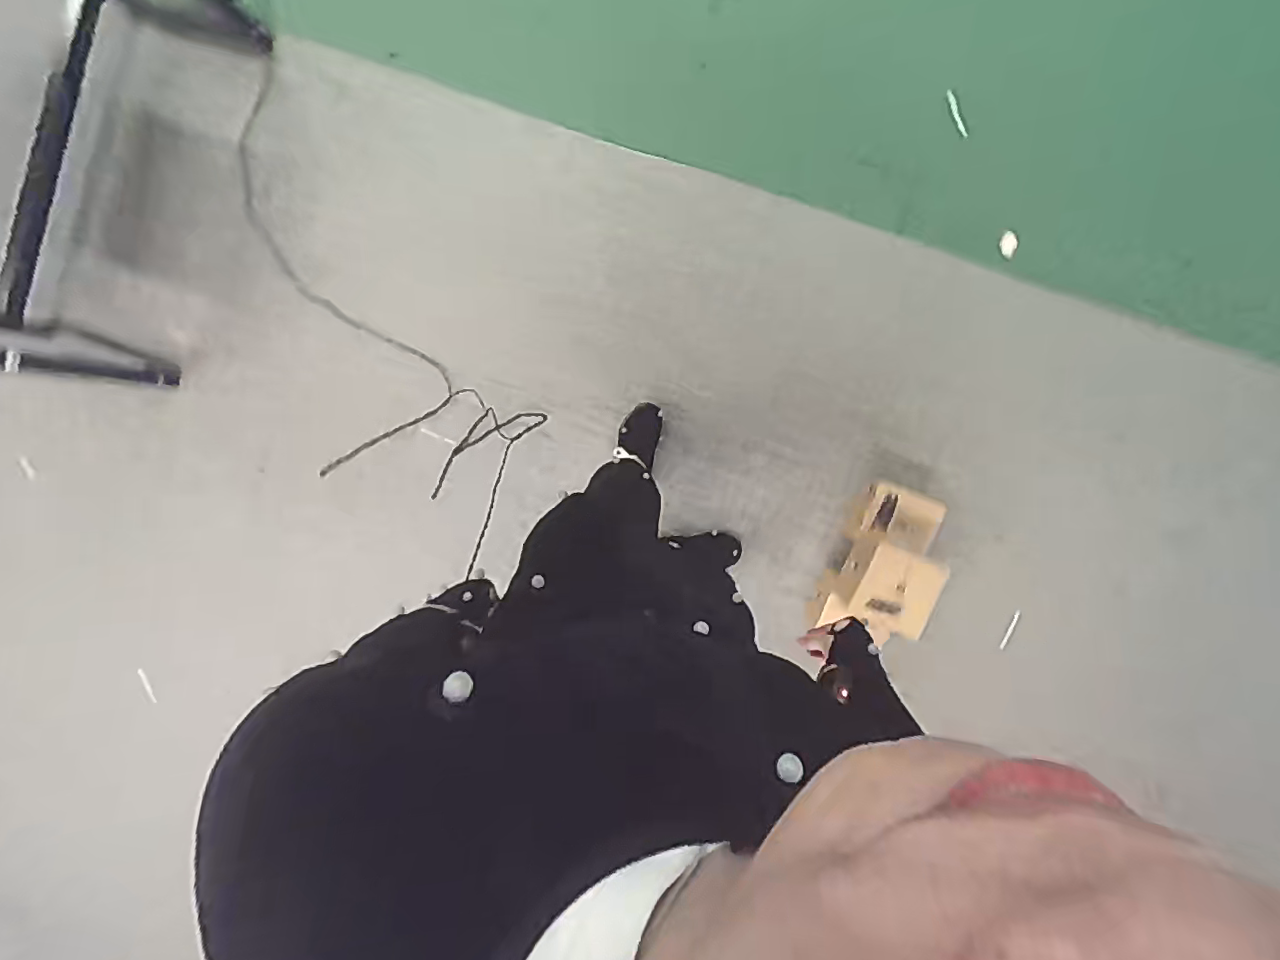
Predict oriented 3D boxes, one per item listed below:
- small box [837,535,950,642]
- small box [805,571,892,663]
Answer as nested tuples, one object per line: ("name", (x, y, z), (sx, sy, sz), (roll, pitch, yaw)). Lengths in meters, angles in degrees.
("small box", (0.586, 0.247, 1.279), (0.168, 0.176, 0.179), (24, 95, 6))
("small box", (0.564, 0.357, 1.453), (0.179, 0.176, 0.168), (23, 95, 6))
